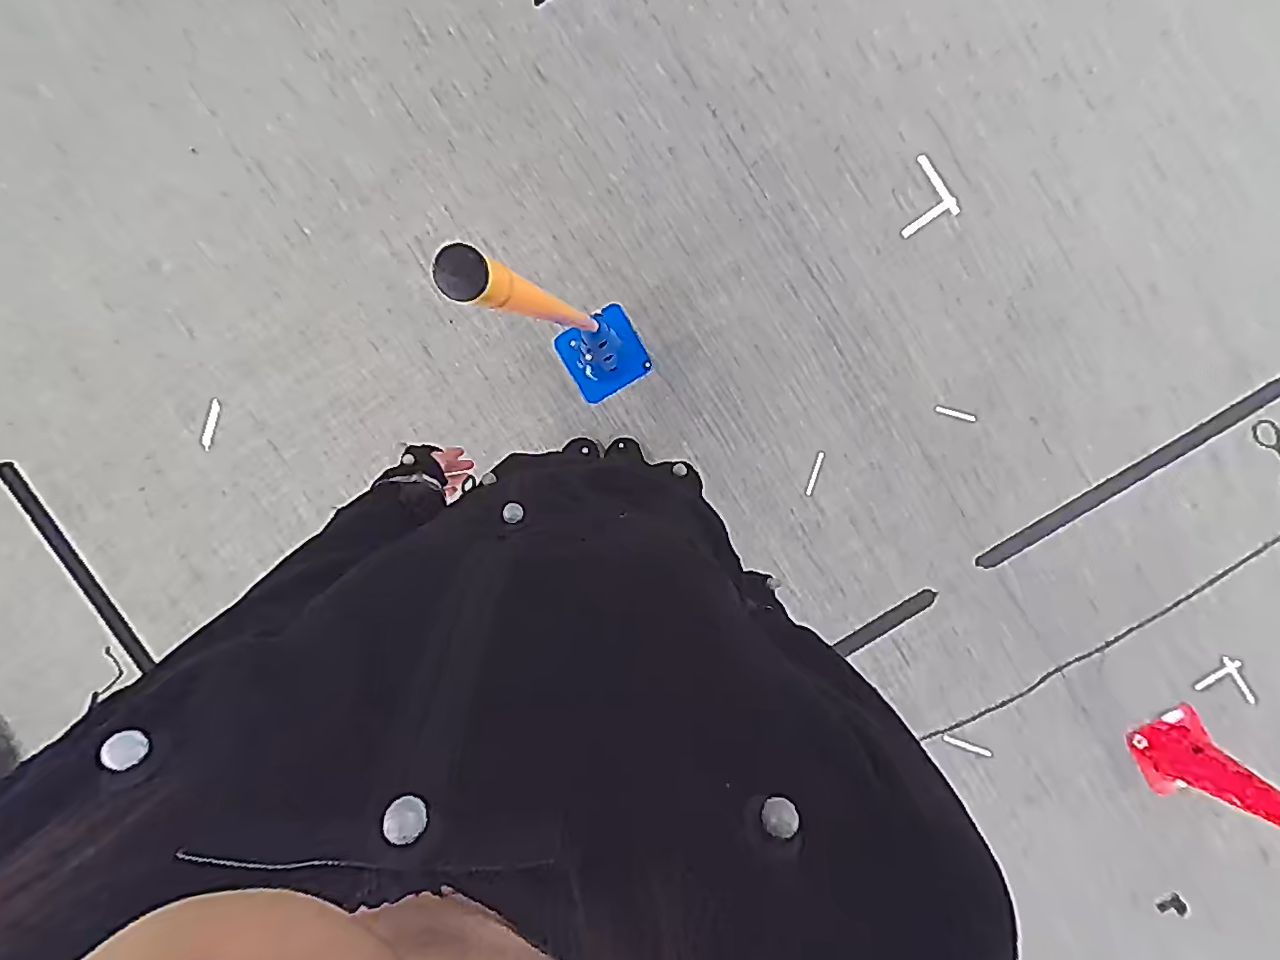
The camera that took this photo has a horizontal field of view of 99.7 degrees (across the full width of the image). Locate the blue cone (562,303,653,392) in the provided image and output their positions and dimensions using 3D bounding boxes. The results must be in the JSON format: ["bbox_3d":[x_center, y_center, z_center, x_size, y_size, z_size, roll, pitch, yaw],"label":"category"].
[{"bbox_3d":[-0.085,-0.326,1.228,0.192,0.380,0.193,-29,94,1],"label":"blue cone"}]
